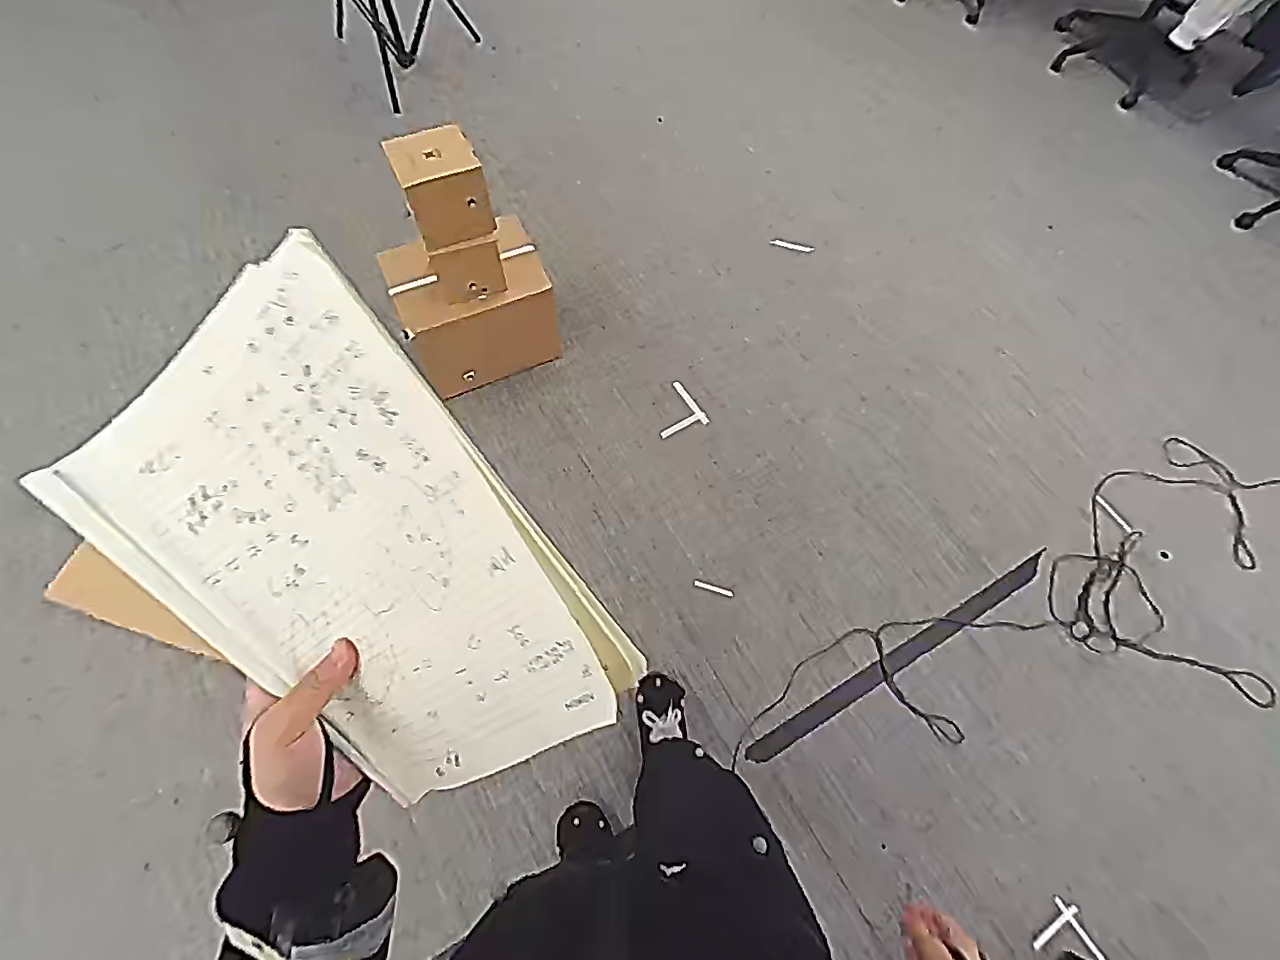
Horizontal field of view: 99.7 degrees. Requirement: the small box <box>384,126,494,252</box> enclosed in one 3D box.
[{"bbox_3d":[-0.450,-0.664,1.242,0.179,0.176,0.168,-25,68,-12],"label":"small box"}]
